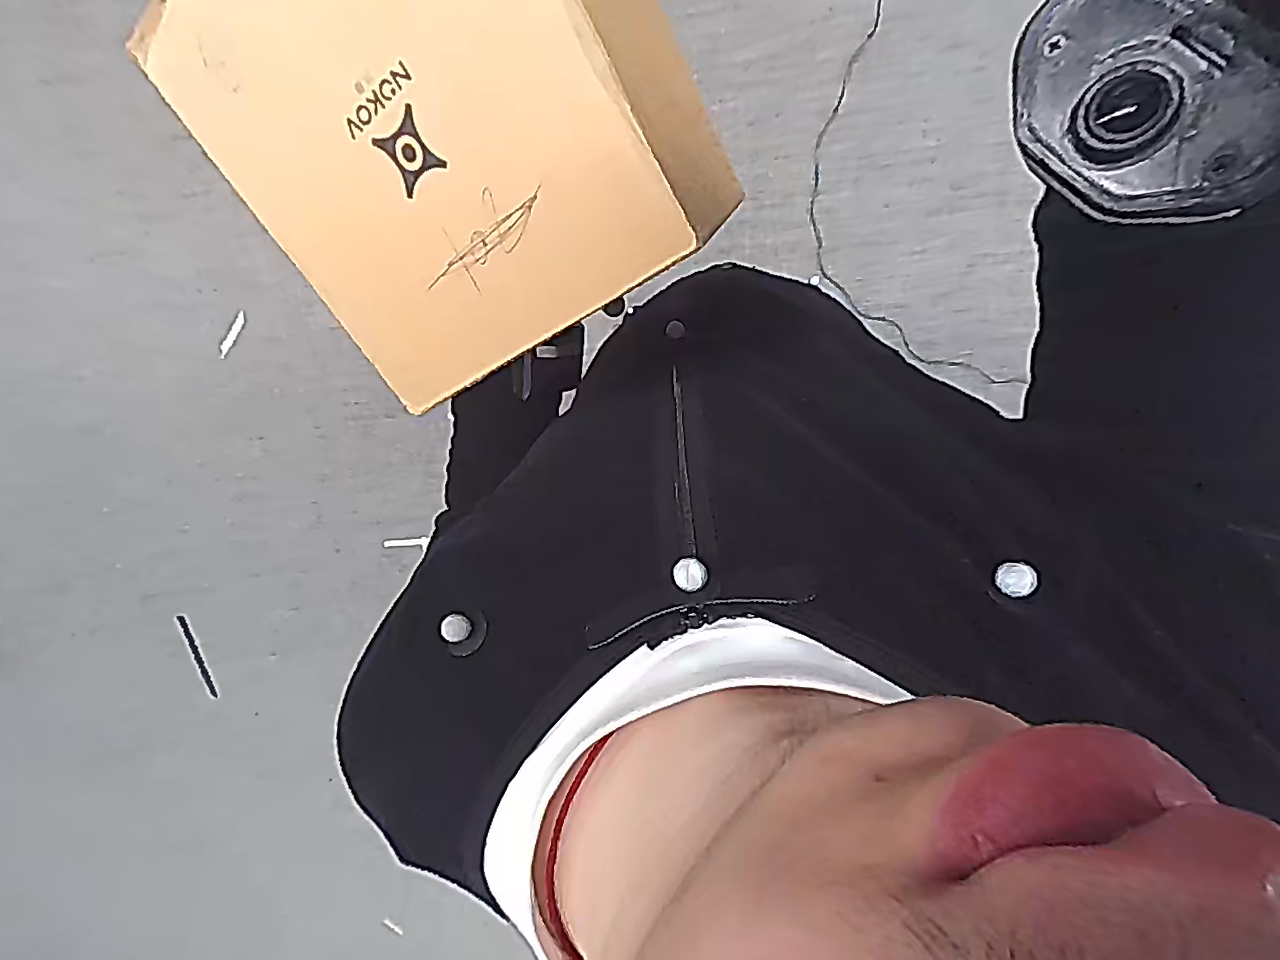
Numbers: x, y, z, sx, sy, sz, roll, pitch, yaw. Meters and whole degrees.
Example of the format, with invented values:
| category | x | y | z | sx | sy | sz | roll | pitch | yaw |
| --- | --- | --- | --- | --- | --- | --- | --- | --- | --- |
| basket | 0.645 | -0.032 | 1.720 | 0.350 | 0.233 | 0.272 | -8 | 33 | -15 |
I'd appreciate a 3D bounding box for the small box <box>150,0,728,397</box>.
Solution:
| category | x | y | z | sx | sy | sz | roll | pitch | yaw |
| --- | --- | --- | --- | --- | --- | --- | --- | --- | --- |
| small box | -0.069 | -0.176 | 0.277 | 0.168 | 0.176 | 0.179 | -20 | 115 | 27 |
